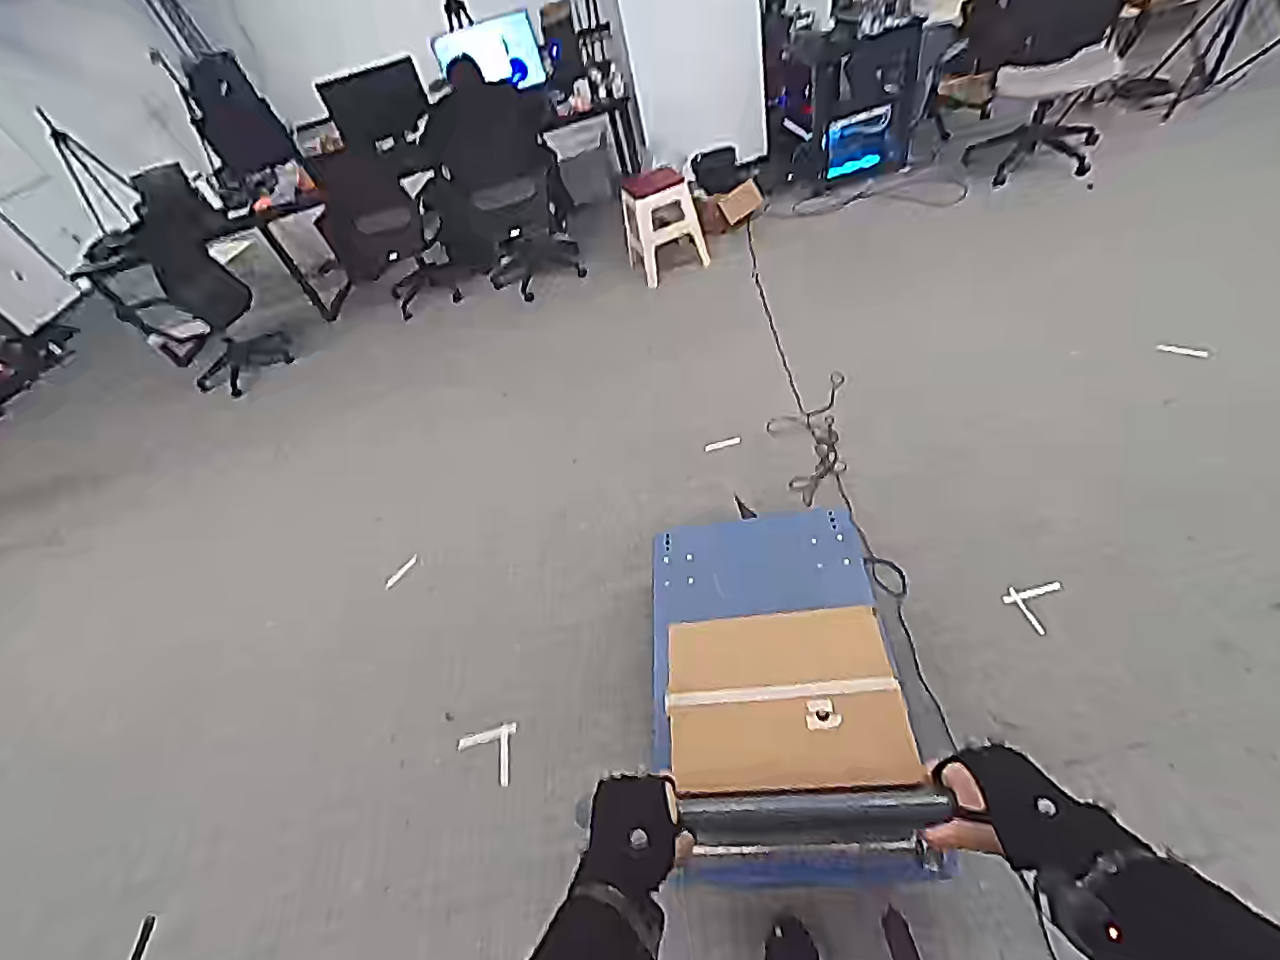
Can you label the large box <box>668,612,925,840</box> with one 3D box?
[{"bbox_3d":[0.280,0.495,1.072,0.408,0.320,0.320,-8,47,10],"label":"large box"}]
